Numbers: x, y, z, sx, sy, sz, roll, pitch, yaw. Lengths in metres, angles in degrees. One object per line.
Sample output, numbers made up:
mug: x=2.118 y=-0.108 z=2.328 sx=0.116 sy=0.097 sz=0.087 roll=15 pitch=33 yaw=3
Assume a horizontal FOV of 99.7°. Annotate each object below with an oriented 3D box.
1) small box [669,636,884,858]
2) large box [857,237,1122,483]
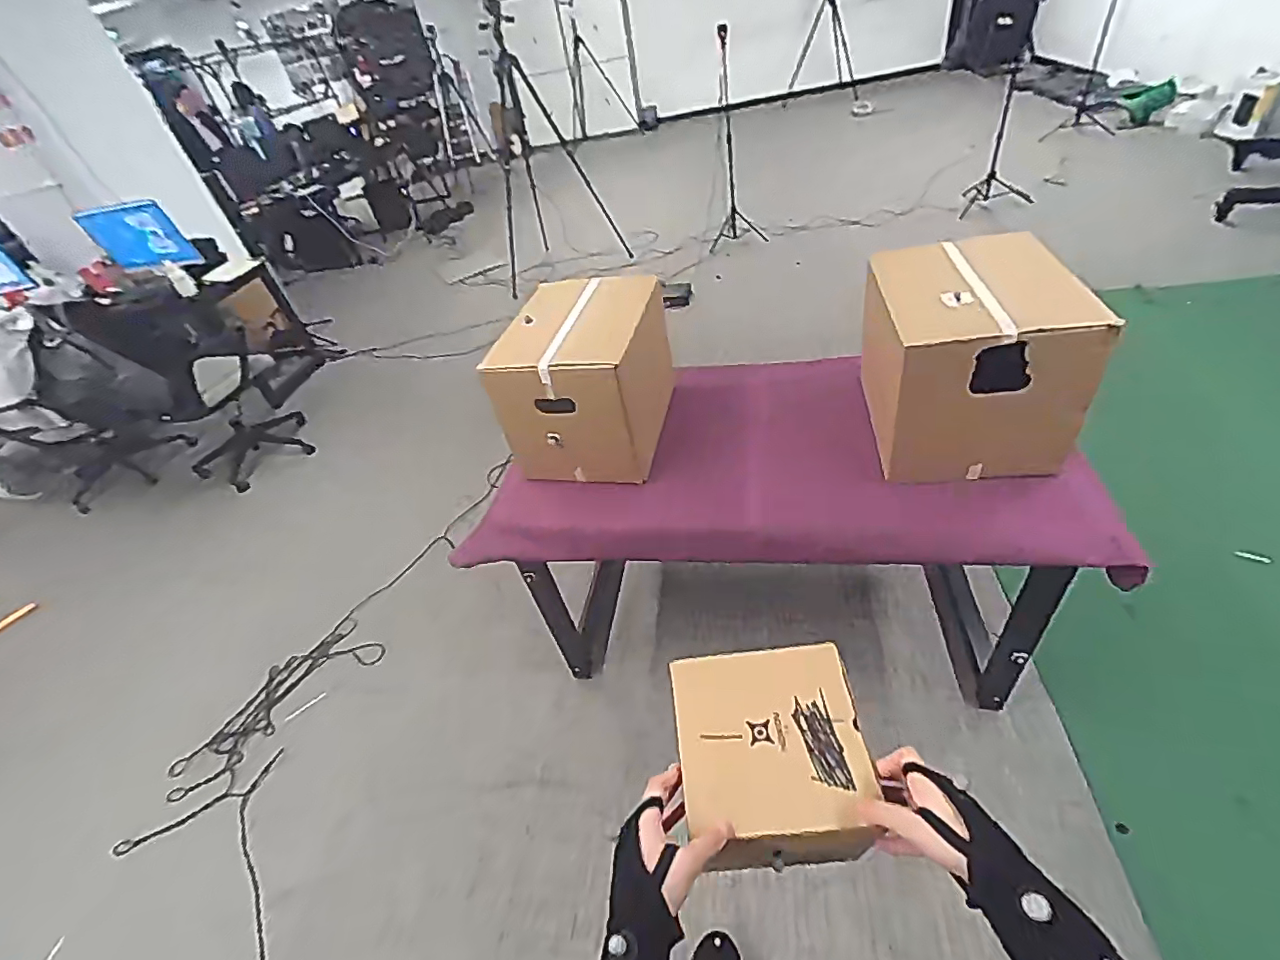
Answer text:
small box: x=0.128 y=0.284 z=0.571 sx=0.179 sy=0.176 sz=0.168 roll=-7 pitch=46 yaw=4
large box: x=0.641 y=-0.245 z=1.095 sx=0.320 sy=0.320 sz=0.408 roll=-4 pitch=42 yaw=15
